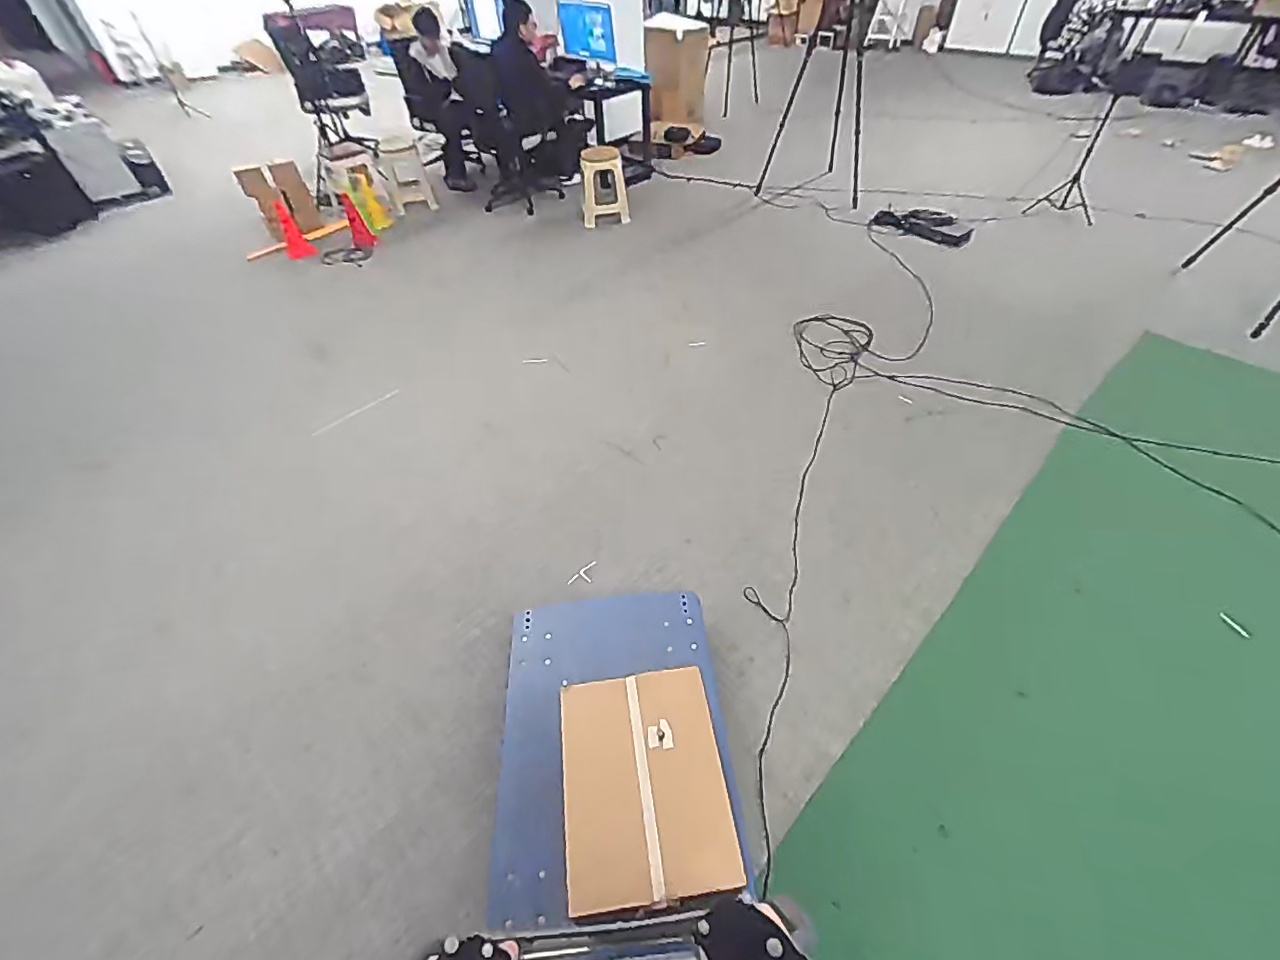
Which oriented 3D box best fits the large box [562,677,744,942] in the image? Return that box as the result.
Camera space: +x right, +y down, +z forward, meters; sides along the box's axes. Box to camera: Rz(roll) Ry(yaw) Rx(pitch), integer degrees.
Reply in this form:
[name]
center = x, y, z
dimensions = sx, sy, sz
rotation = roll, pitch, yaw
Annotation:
[large box]
center = 0.012, 0.708, 1.180
dimensions = 0.320, 0.320, 0.408
rotation = -6, 45, -4
